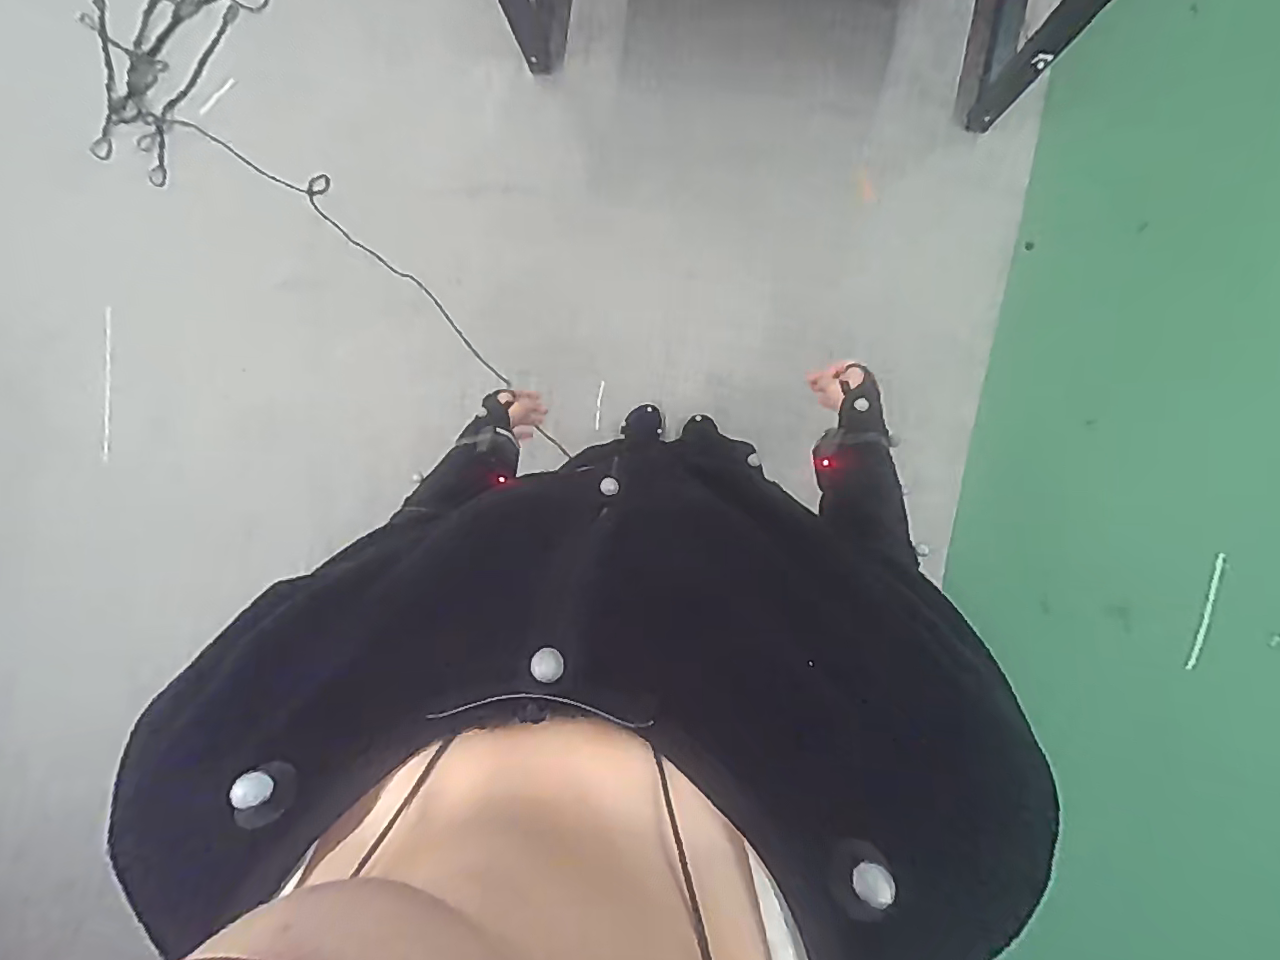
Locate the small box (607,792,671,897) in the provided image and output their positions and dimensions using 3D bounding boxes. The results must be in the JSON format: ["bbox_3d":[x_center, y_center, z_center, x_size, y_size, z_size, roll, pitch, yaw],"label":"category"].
[{"bbox_3d":[-0.010,1.022,1.518,0.168,0.176,0.179,14,97,6],"label":"small box"}]
